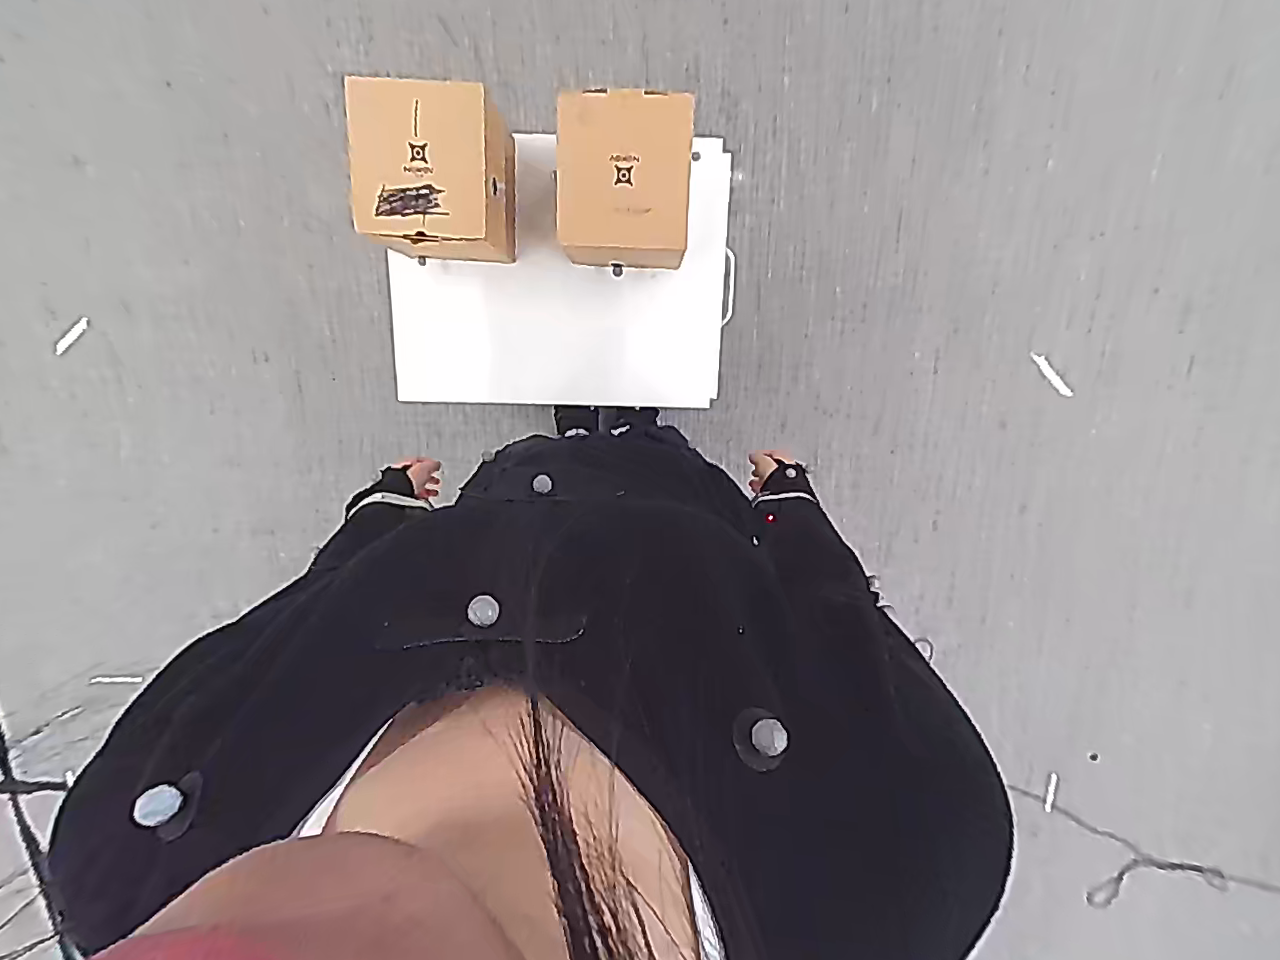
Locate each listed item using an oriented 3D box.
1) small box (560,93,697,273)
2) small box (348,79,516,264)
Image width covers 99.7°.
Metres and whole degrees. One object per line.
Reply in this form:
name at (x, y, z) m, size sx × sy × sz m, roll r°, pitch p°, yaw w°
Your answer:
small box at (-0.016, -0.389, 0.736) m, size 0.168 × 0.176 × 0.179 m, roll 2°, pitch 104°, yaw 1°
small box at (-0.266, -0.399, 0.731) m, size 0.168 × 0.176 × 0.179 m, roll 3°, pitch 102°, yaw -1°
